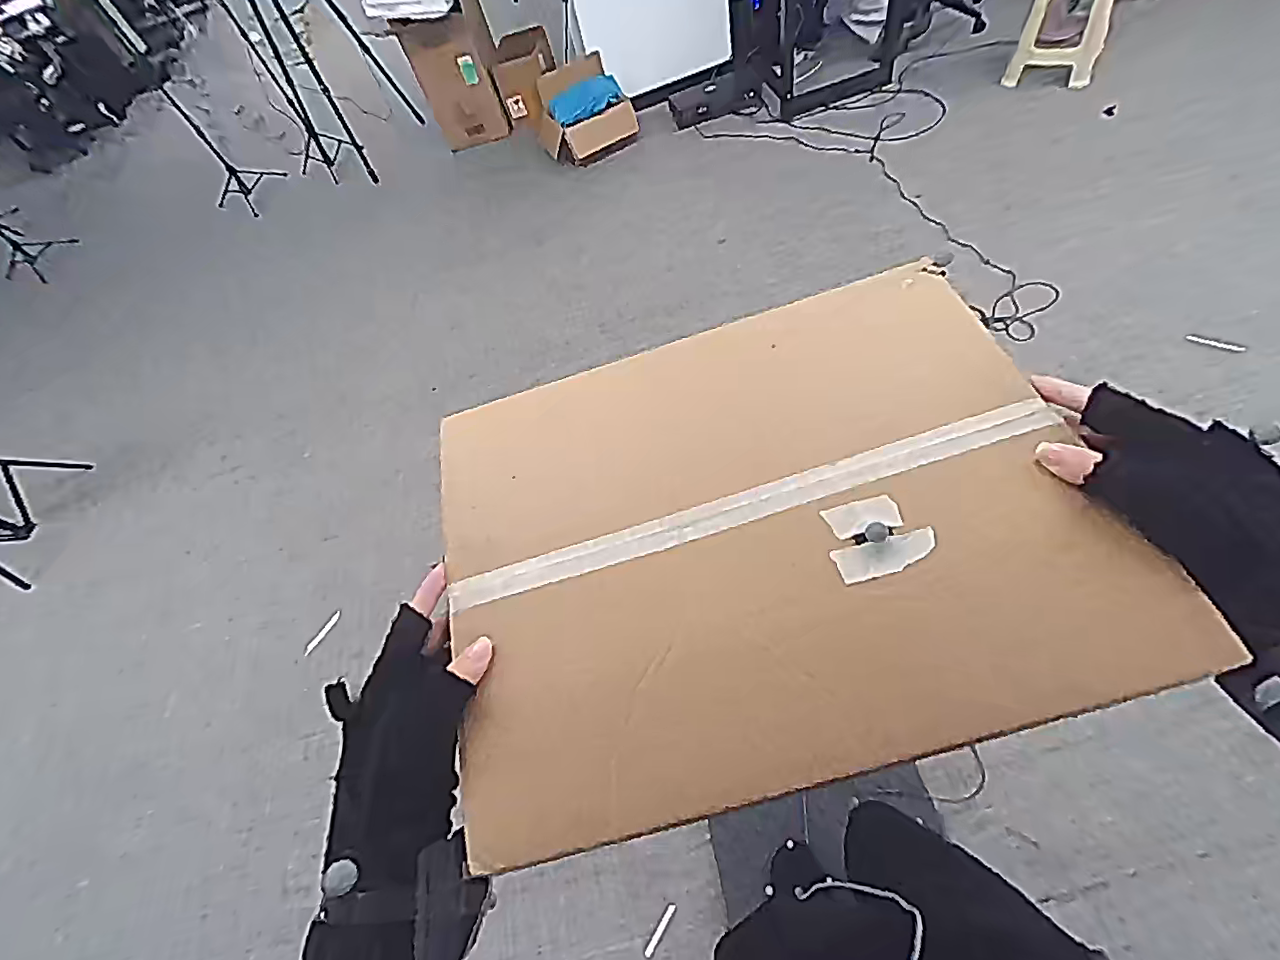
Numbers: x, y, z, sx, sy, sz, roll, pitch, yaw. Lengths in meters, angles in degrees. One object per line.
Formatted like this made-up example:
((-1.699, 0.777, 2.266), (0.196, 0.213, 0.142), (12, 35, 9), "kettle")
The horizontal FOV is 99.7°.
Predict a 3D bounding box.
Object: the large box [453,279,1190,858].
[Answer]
((0.095, 0.094, 0.494), (0.408, 0.320, 0.320), (-18, 60, 3), "large box")
